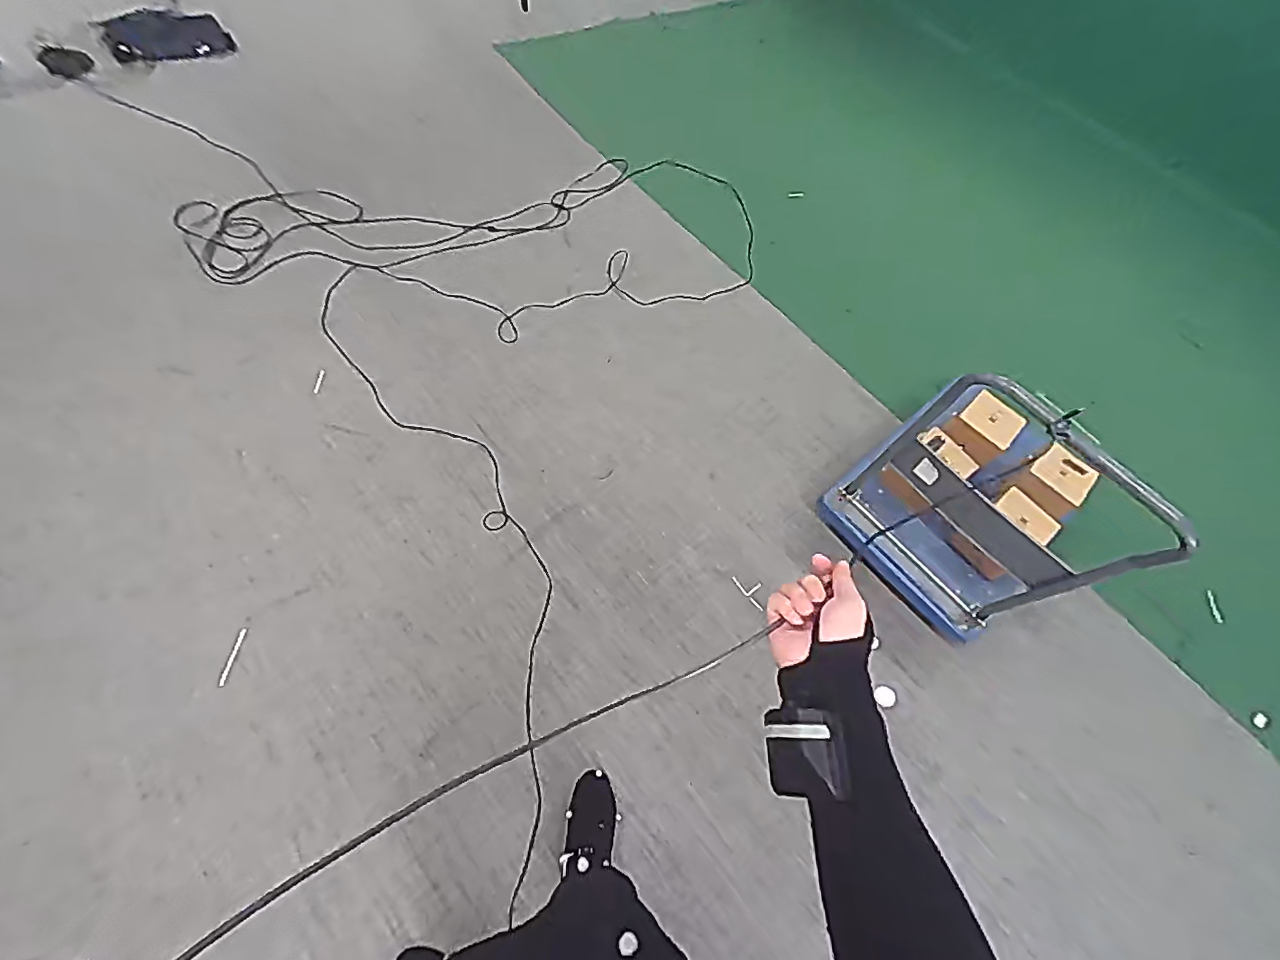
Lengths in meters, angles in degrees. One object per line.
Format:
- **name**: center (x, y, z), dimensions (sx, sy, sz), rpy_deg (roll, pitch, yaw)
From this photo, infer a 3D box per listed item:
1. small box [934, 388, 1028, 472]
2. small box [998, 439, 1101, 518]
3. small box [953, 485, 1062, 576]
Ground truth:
- **small box**: center (1.099, -0.157, 1.760), dimensions (0.179, 0.176, 0.168), rpy_deg (-38, 74, -25)
- **small box**: center (1.273, 0.011, 1.694), dimensions (0.179, 0.176, 0.168), rpy_deg (-39, 73, -24)
- **small box**: center (1.069, 0.152, 1.587), dimensions (0.179, 0.176, 0.168), rpy_deg (-34, 71, -23)
